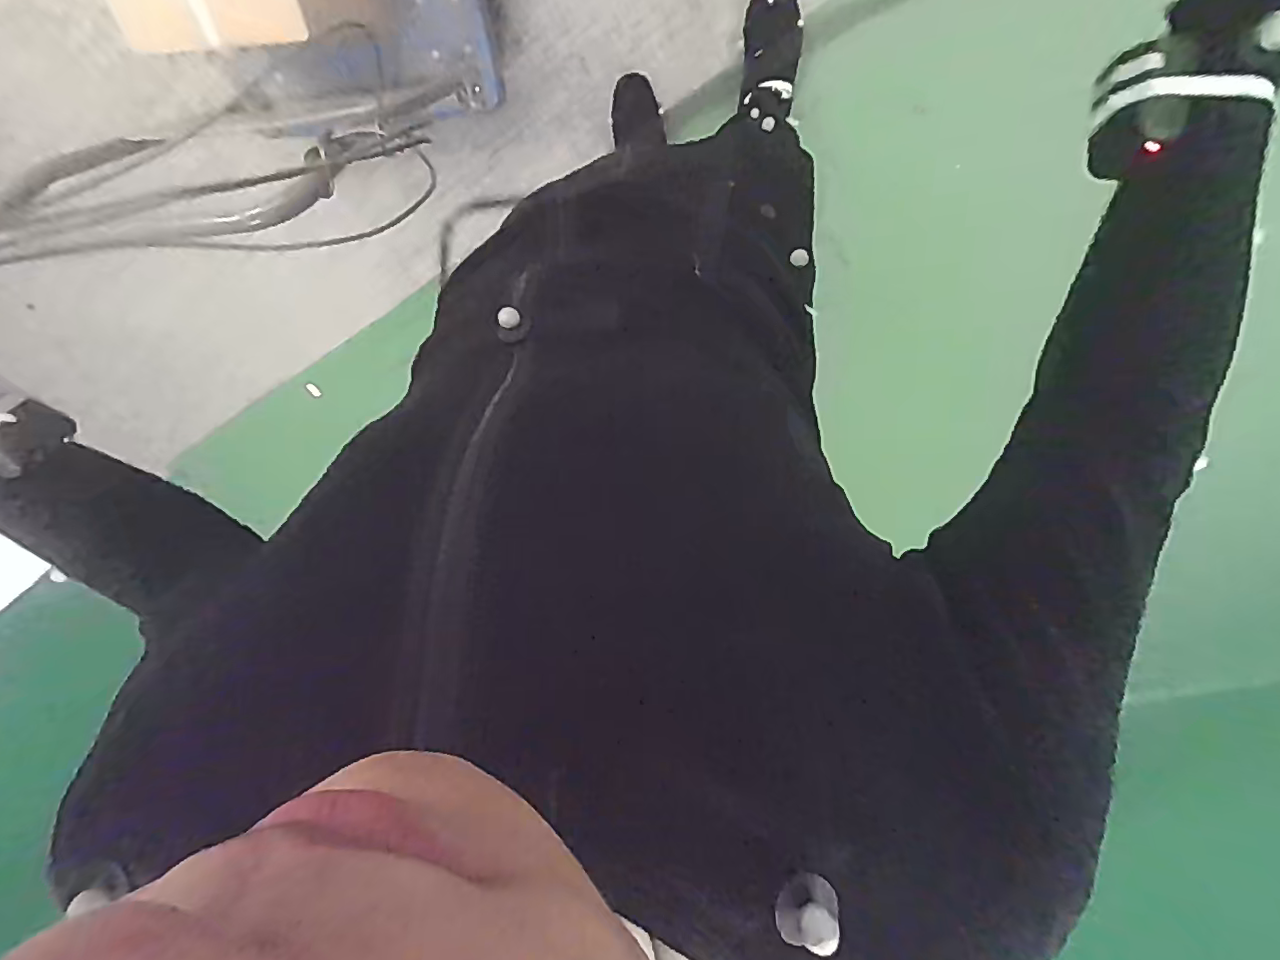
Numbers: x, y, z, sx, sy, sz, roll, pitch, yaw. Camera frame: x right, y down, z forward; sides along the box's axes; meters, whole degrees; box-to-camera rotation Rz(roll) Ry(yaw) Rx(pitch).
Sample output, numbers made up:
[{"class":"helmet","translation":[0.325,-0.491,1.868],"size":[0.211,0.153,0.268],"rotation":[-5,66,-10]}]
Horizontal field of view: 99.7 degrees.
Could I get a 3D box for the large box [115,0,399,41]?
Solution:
[{"class":"large box","translation":[-0.631,-0.928,0.805],"size":[0.320,0.320,0.408],"rotation":[2,131,7]}]
